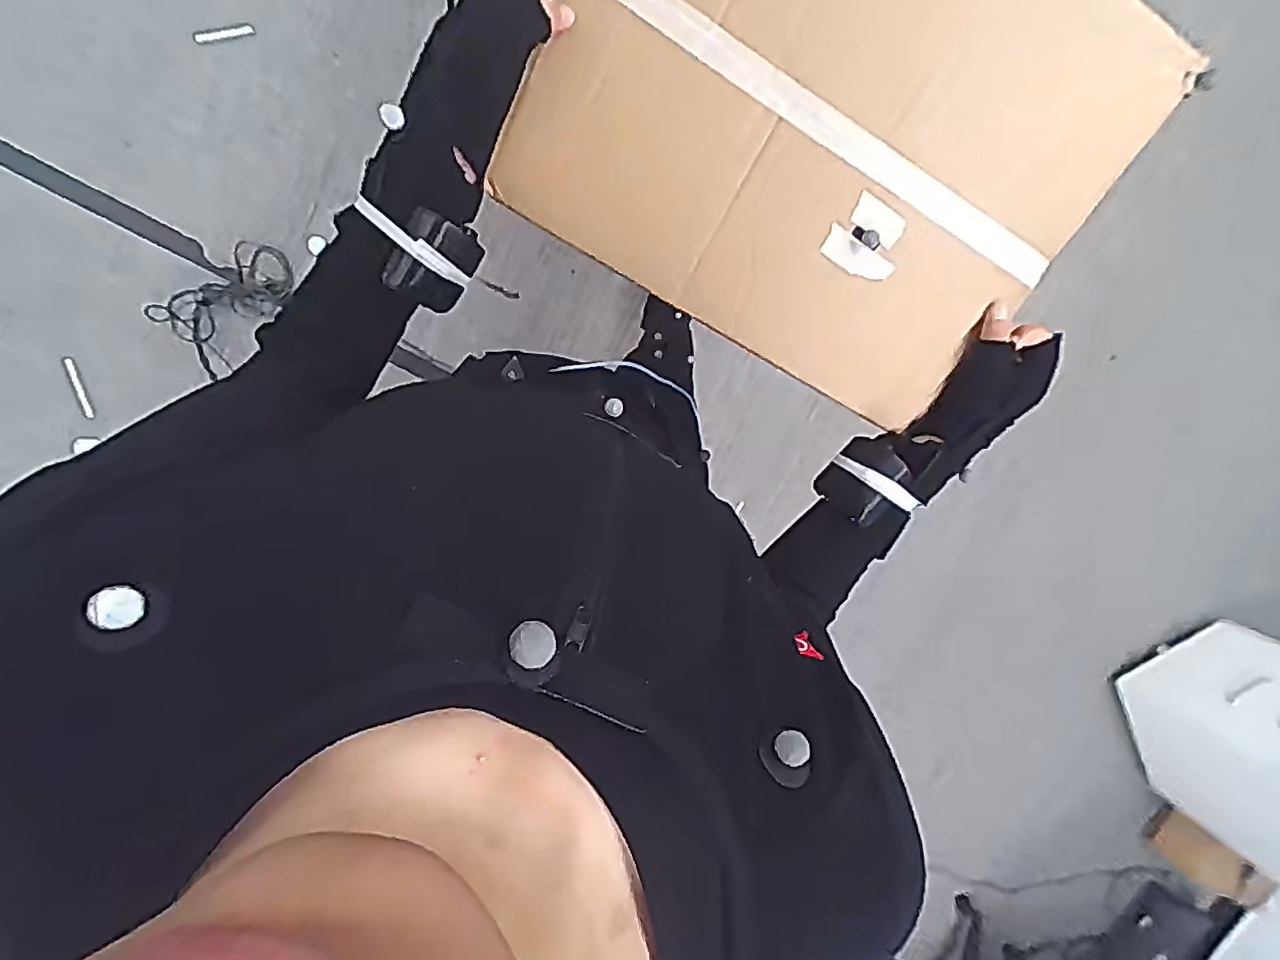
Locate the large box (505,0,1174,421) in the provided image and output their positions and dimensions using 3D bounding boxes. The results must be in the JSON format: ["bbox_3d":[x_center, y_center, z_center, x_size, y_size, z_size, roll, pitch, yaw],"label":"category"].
[{"bbox_3d":[0.135,-0.318,0.534,0.408,0.320,0.320,27,112,-12],"label":"large box"}]
